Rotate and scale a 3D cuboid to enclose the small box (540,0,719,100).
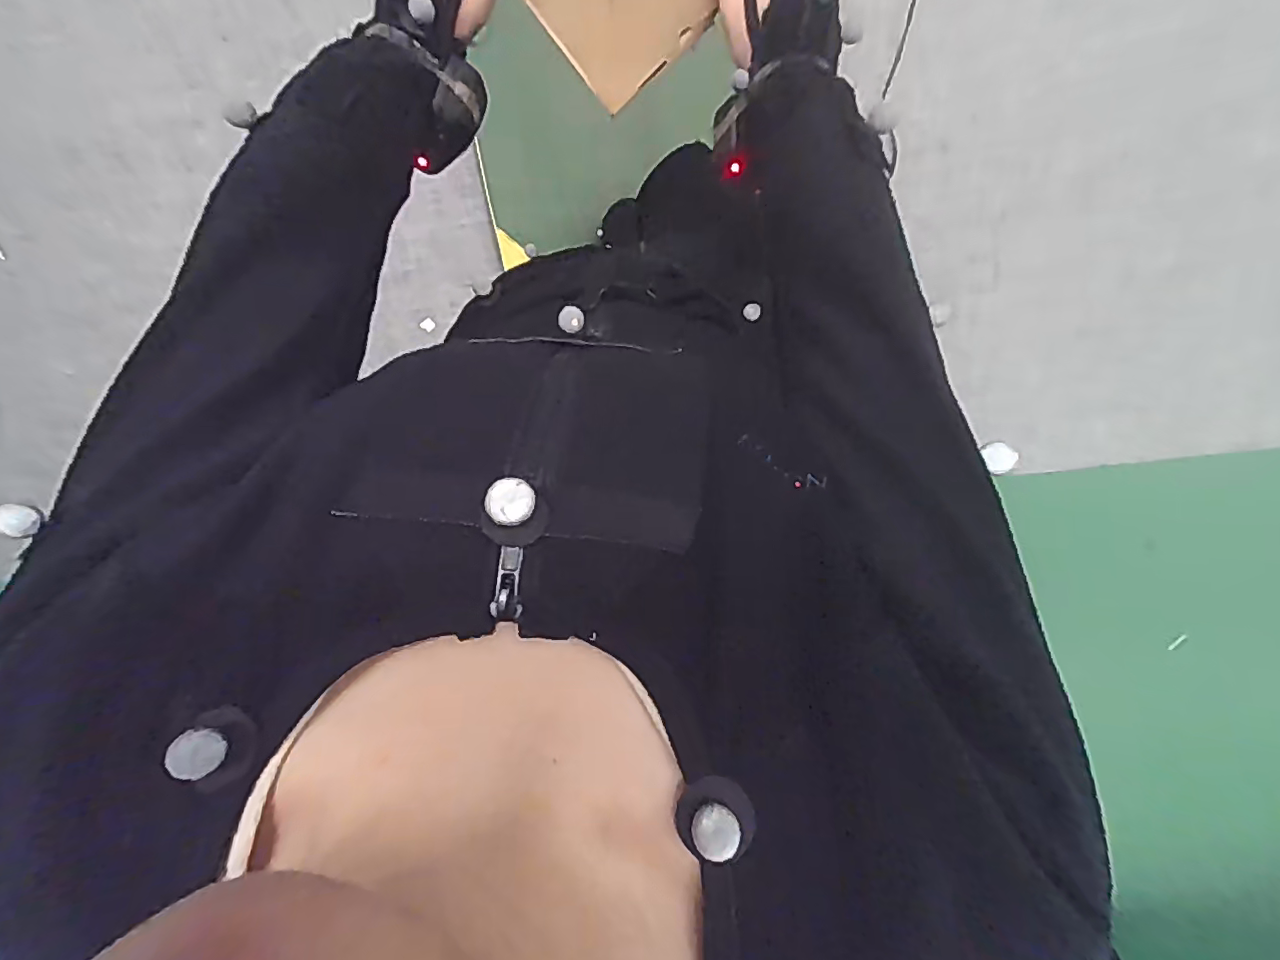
[{"bbox_3d":[-0.011,-0.463,0.432,0.168,0.176,0.179,-28,128,29],"label":"small box"}]
